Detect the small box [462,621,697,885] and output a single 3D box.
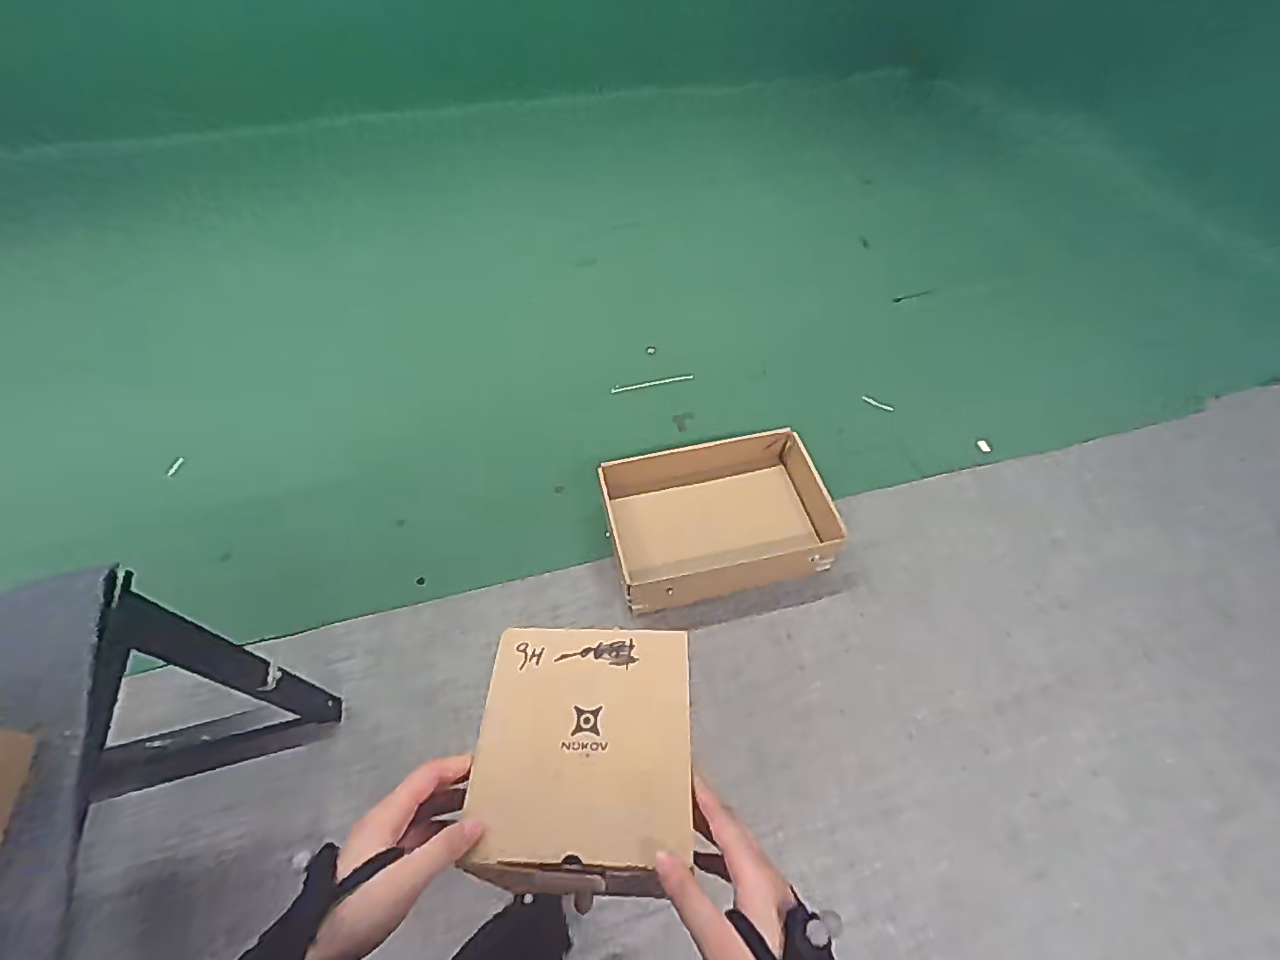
[{"bbox_3d":[-0.037,0.244,0.479,0.168,0.176,0.179,1,49,1],"label":"small box"}]
